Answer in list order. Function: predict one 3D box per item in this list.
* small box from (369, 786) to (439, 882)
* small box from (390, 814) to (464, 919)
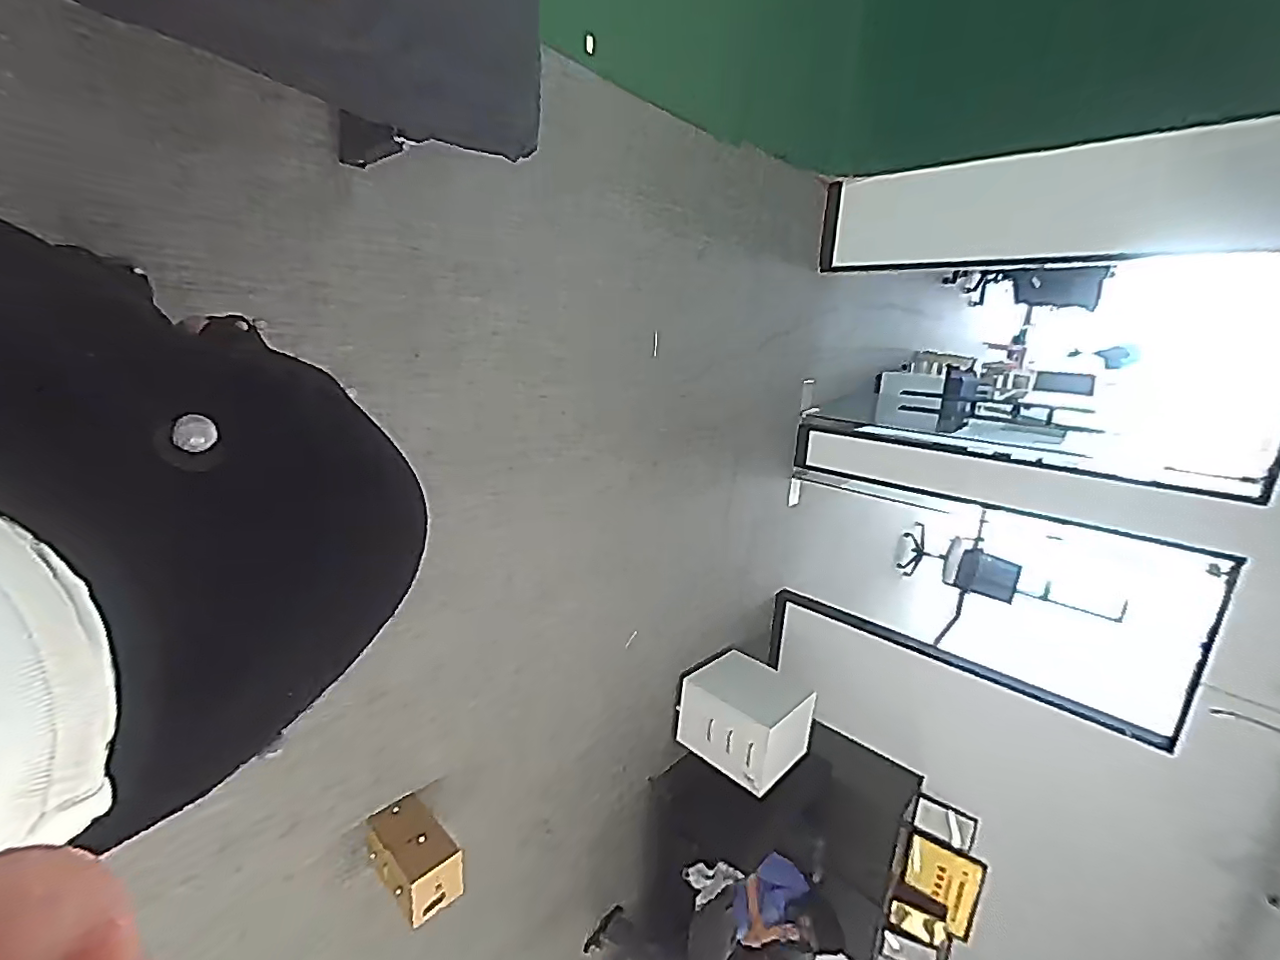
[{"bbox_3d":[-0.805,1.196,1.839,0.179,0.176,0.168,-12,112,-46],"label":"small box"},{"bbox_3d":[-0.683,1.226,1.731,0.168,0.176,0.179,-13,112,-47],"label":"small box"}]
